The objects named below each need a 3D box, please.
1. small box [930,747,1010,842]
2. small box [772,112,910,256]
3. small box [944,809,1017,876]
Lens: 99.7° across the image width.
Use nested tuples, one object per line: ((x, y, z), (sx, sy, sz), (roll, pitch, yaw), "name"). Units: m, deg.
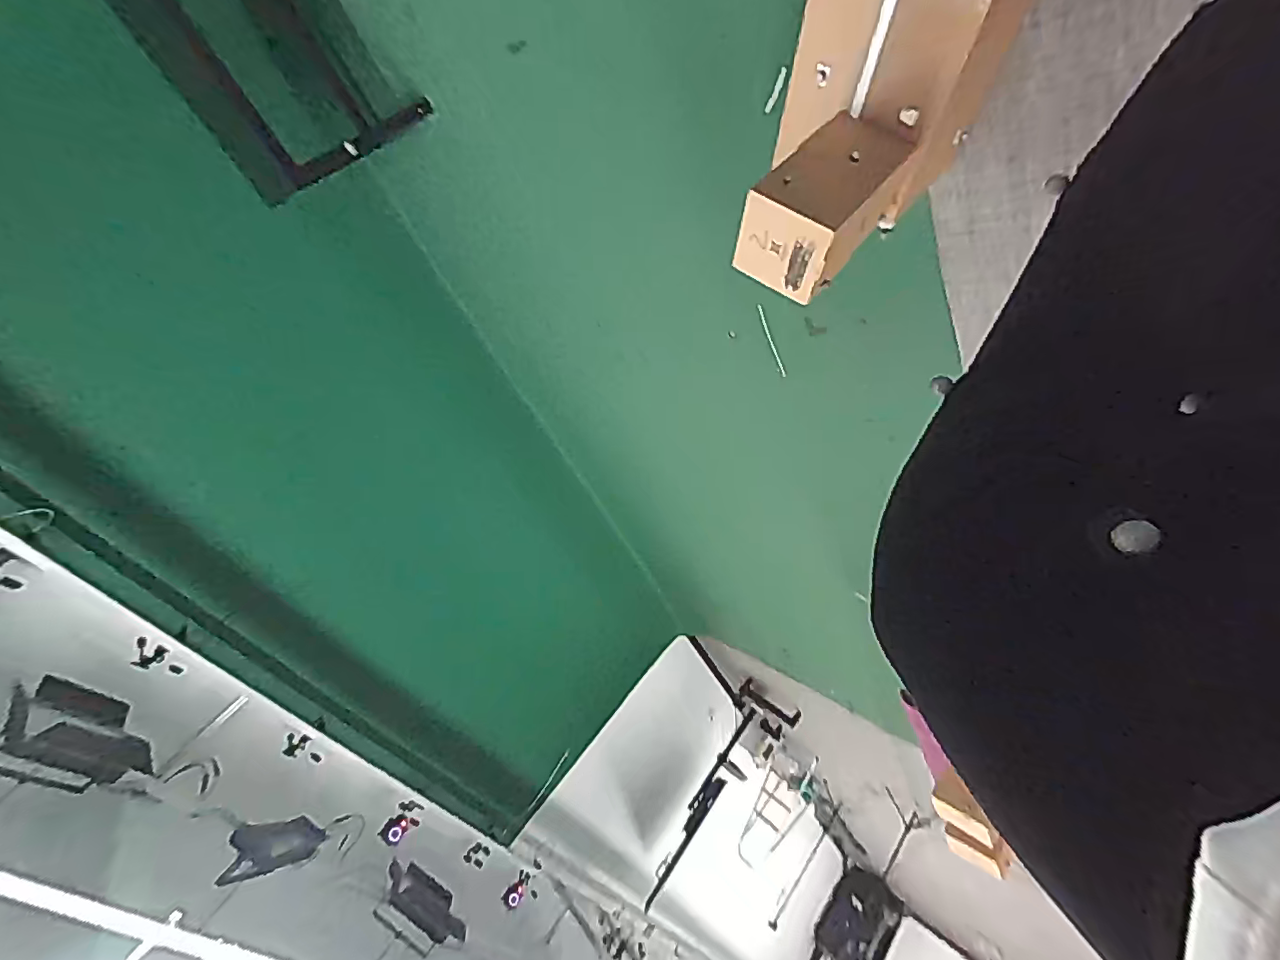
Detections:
((1.050, 0.991, 1.712), (0.168, 0.176, 0.179), (14, 146, 47), "small box")
((0.400, -0.595, 1.081), (0.179, 0.176, 0.168), (37, 156, 14), "small box")
((1.190, 1.221, 1.884), (0.168, 0.176, 0.179), (10, 140, 48), "small box")
